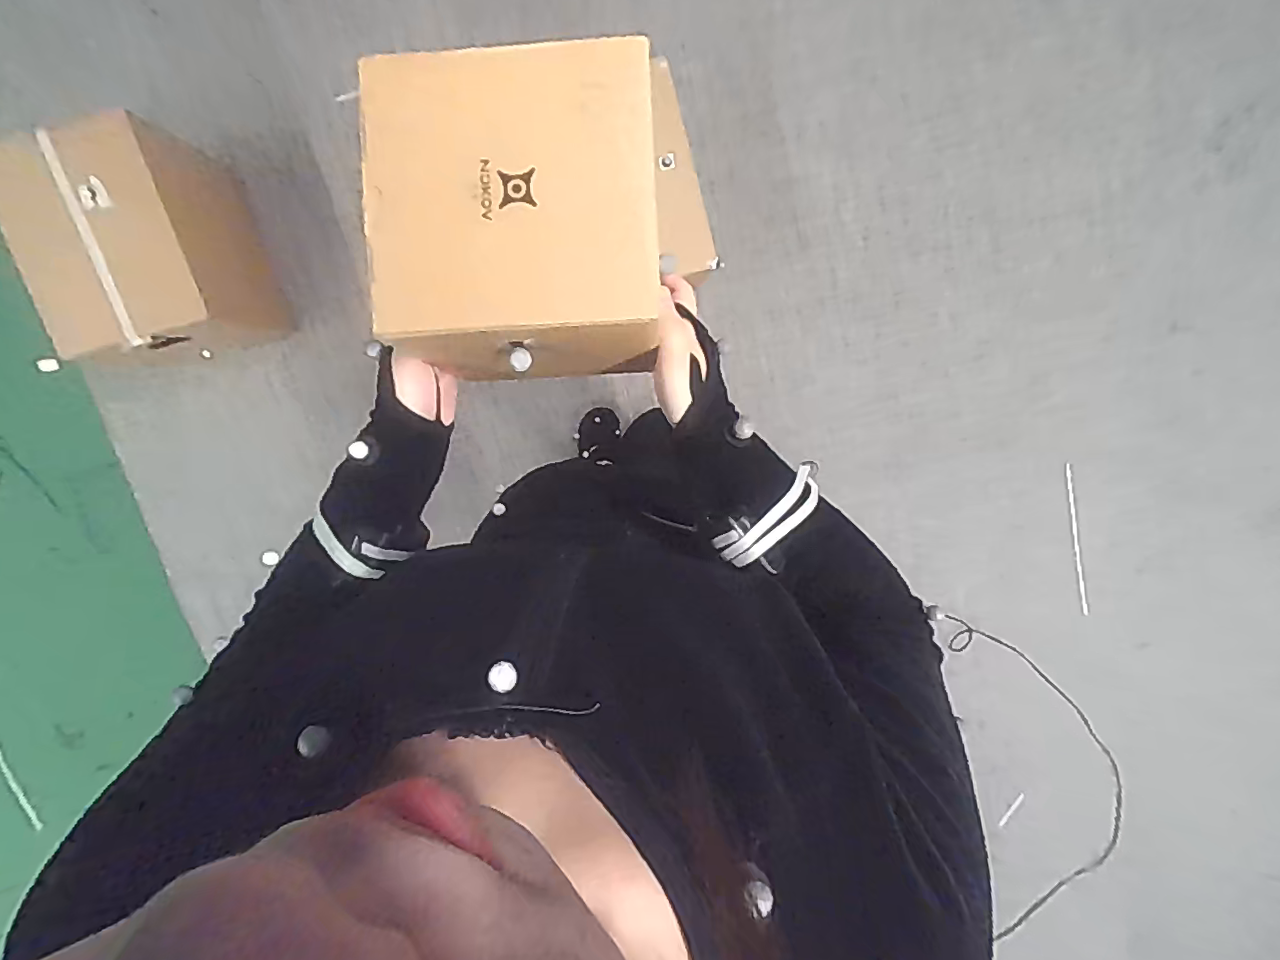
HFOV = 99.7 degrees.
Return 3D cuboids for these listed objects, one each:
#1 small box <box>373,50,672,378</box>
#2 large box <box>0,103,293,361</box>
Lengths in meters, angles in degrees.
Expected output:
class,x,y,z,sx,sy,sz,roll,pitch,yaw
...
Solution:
class,x,y,z,sx,sy,sz,roll,pitch,yaw
small box,-0.069,-0.173,0.405,0.179,0.176,0.168,-3,91,2
large box,-1.066,-0.503,1.190,0.320,0.320,0.408,-15,100,0
